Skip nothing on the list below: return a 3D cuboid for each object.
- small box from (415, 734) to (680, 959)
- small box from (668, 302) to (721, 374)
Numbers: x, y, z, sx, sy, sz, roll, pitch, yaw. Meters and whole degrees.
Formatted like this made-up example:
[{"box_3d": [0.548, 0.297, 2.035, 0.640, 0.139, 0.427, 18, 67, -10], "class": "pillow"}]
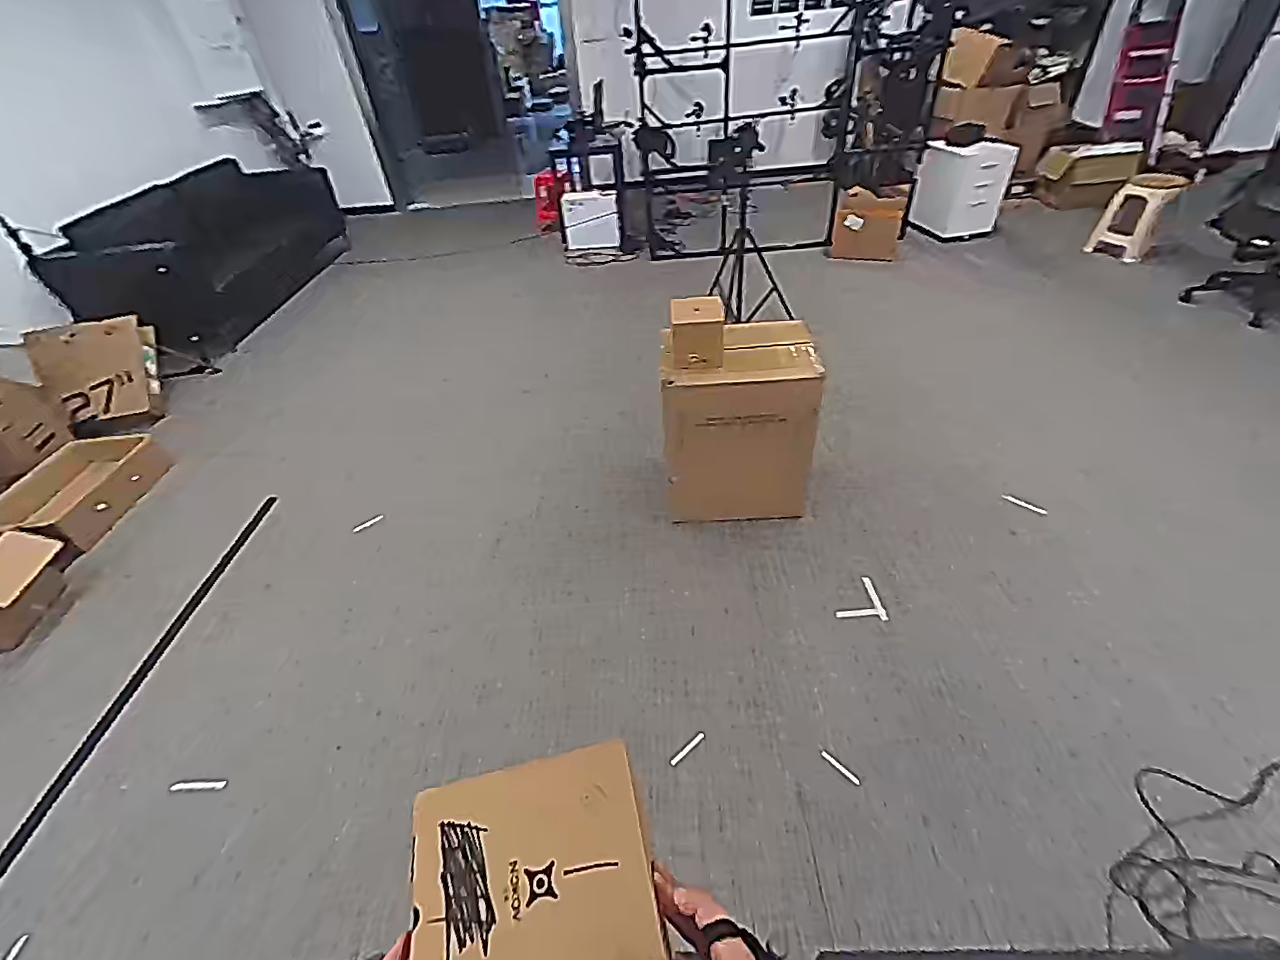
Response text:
[{"box_3d": [-0.070, 0.343, 0.456, 0.179, 0.176, 0.168, -12, 49, -5], "class": "small box"}, {"box_3d": [0.178, -0.471, 1.796, 0.168, 0.176, 0.179, -4, 44, 3], "class": "small box"}]
